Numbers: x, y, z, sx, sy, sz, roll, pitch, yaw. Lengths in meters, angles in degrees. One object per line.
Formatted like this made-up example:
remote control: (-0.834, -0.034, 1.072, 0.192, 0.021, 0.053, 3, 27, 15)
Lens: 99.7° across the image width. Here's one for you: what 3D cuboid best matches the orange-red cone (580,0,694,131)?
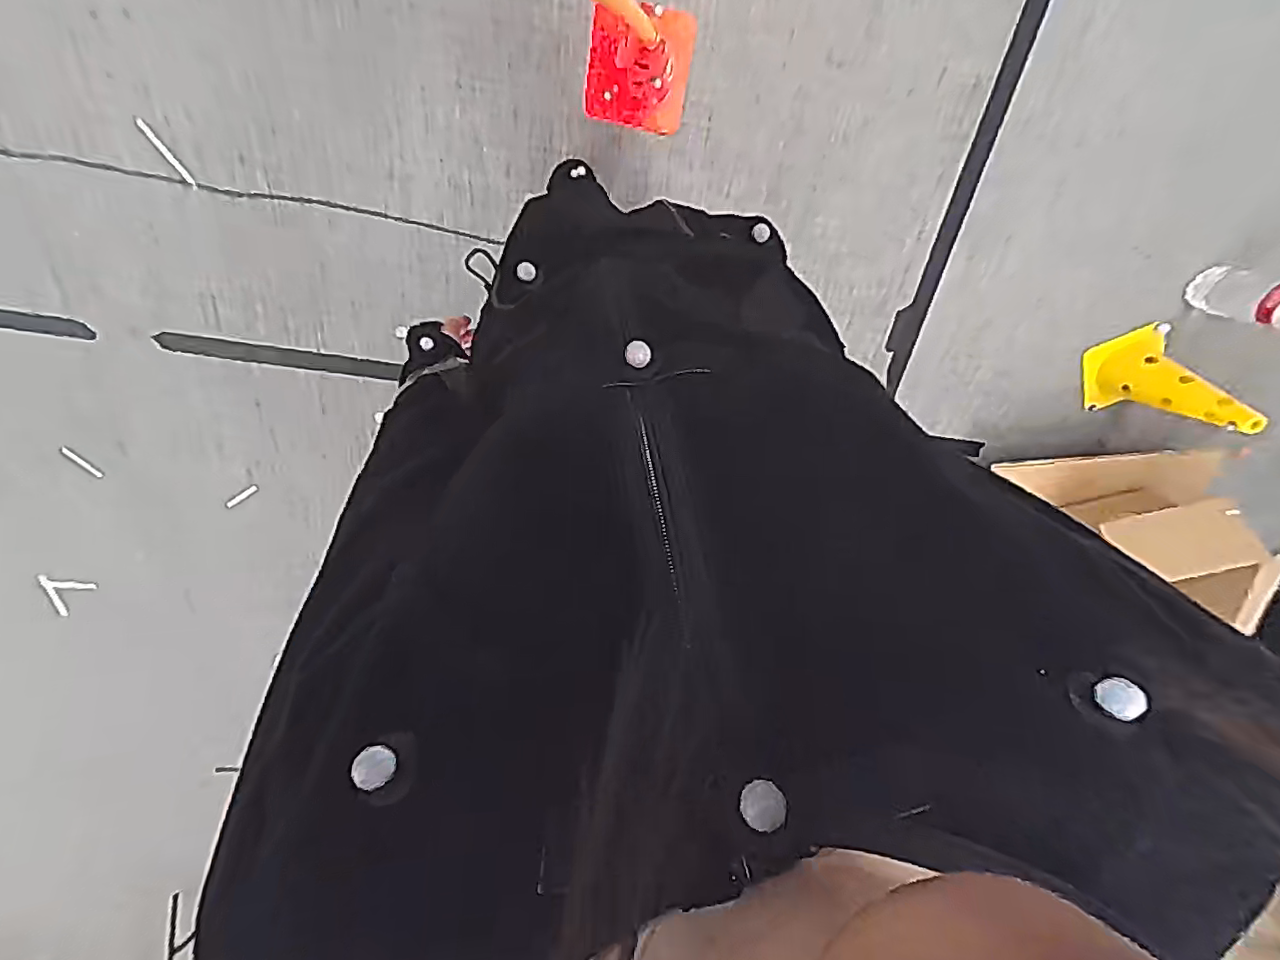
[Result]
orange-red cone: (0.001, -0.728, 0.916, 0.199, 0.360, 0.198, 9, 121, -9)
